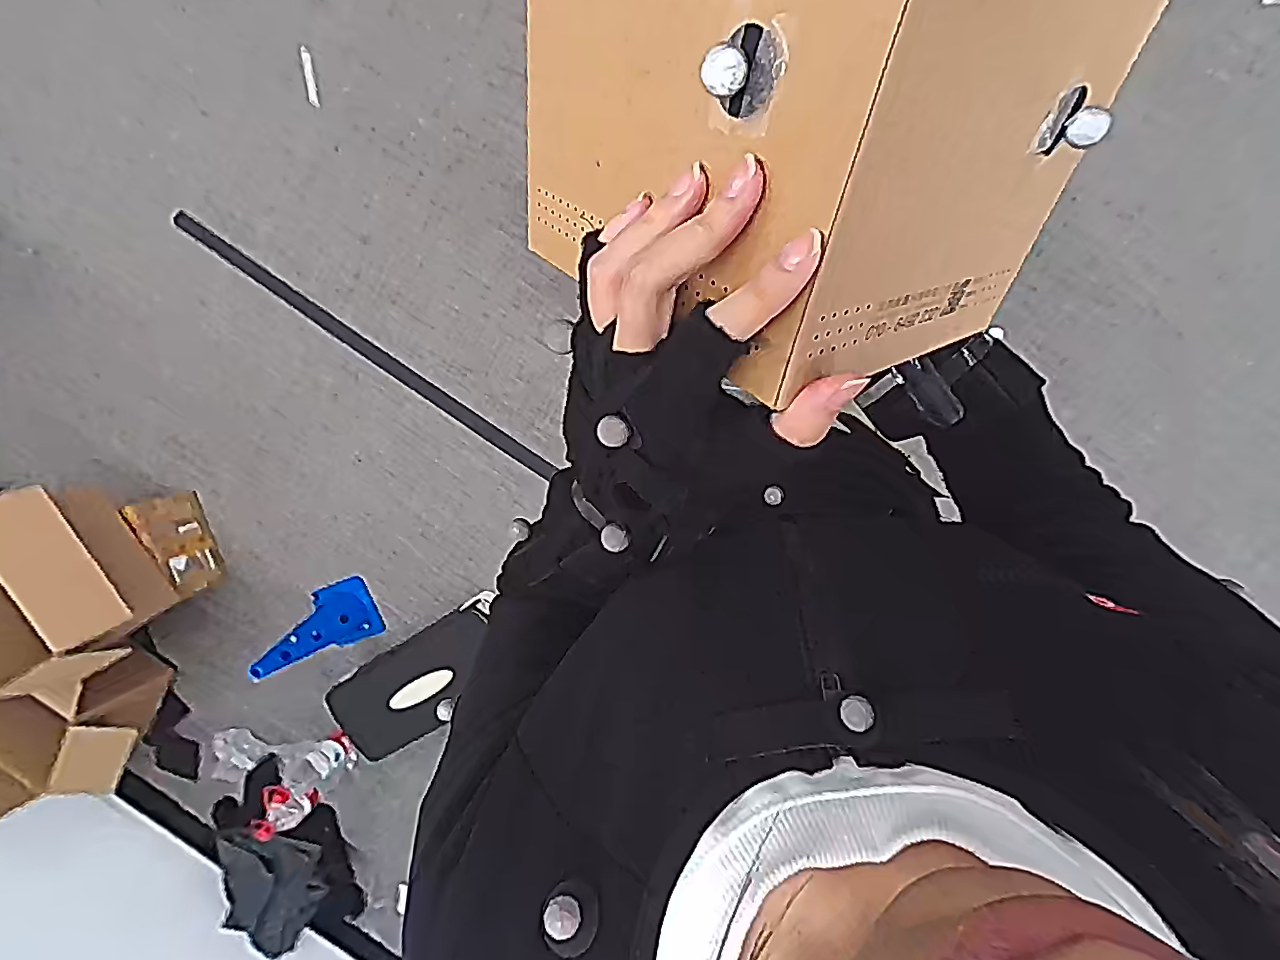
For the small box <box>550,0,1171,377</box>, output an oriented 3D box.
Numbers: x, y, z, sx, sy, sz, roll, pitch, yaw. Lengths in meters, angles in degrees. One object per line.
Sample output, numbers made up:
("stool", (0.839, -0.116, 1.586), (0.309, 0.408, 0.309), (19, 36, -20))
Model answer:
("small box", (0.074, -0.156, 0.232), (0.179, 0.168, 0.176), (44, 140, 34))
